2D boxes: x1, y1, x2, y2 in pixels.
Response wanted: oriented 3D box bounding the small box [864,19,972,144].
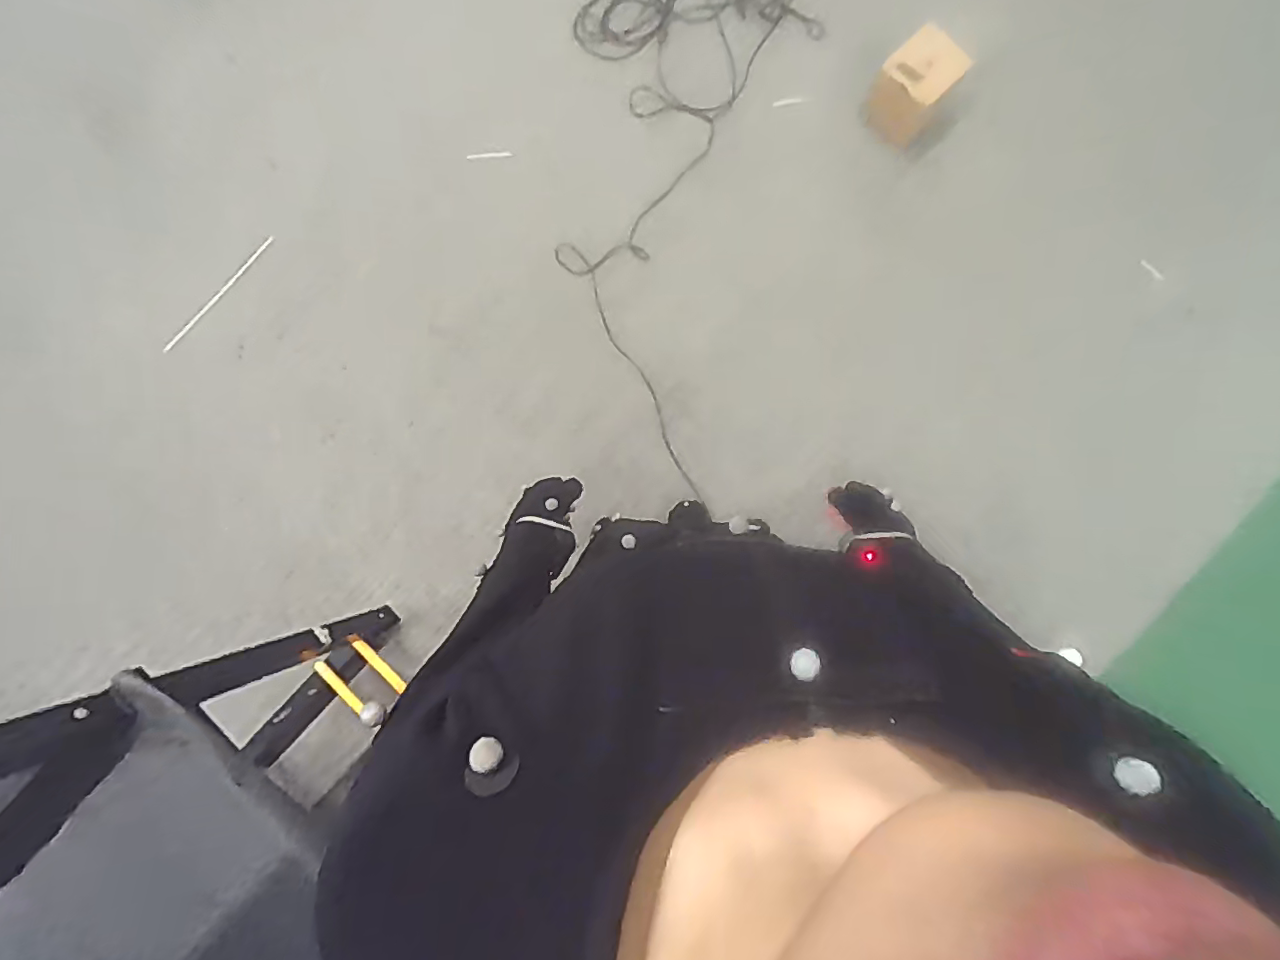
[{"bbox_3d":[0.734,-1.061,1.457,0.179,0.176,0.168,-44,85,-1],"label":"small box"}]
